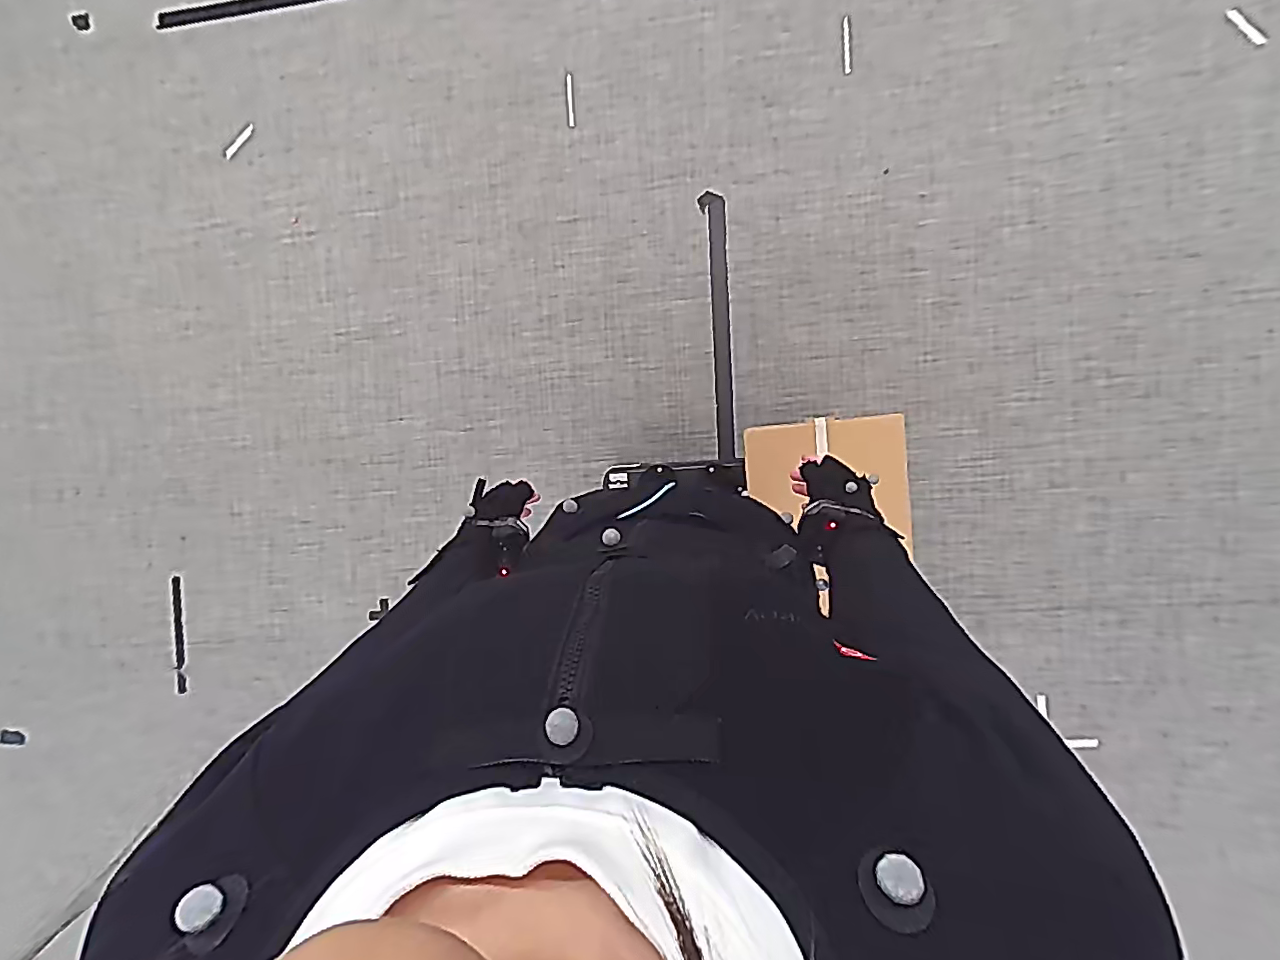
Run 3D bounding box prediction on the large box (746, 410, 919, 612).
[{"bbox_3d":[0.423,0.059,1.251,0.320,0.320,0.408,-4,93,13],"label":"large box"}]
